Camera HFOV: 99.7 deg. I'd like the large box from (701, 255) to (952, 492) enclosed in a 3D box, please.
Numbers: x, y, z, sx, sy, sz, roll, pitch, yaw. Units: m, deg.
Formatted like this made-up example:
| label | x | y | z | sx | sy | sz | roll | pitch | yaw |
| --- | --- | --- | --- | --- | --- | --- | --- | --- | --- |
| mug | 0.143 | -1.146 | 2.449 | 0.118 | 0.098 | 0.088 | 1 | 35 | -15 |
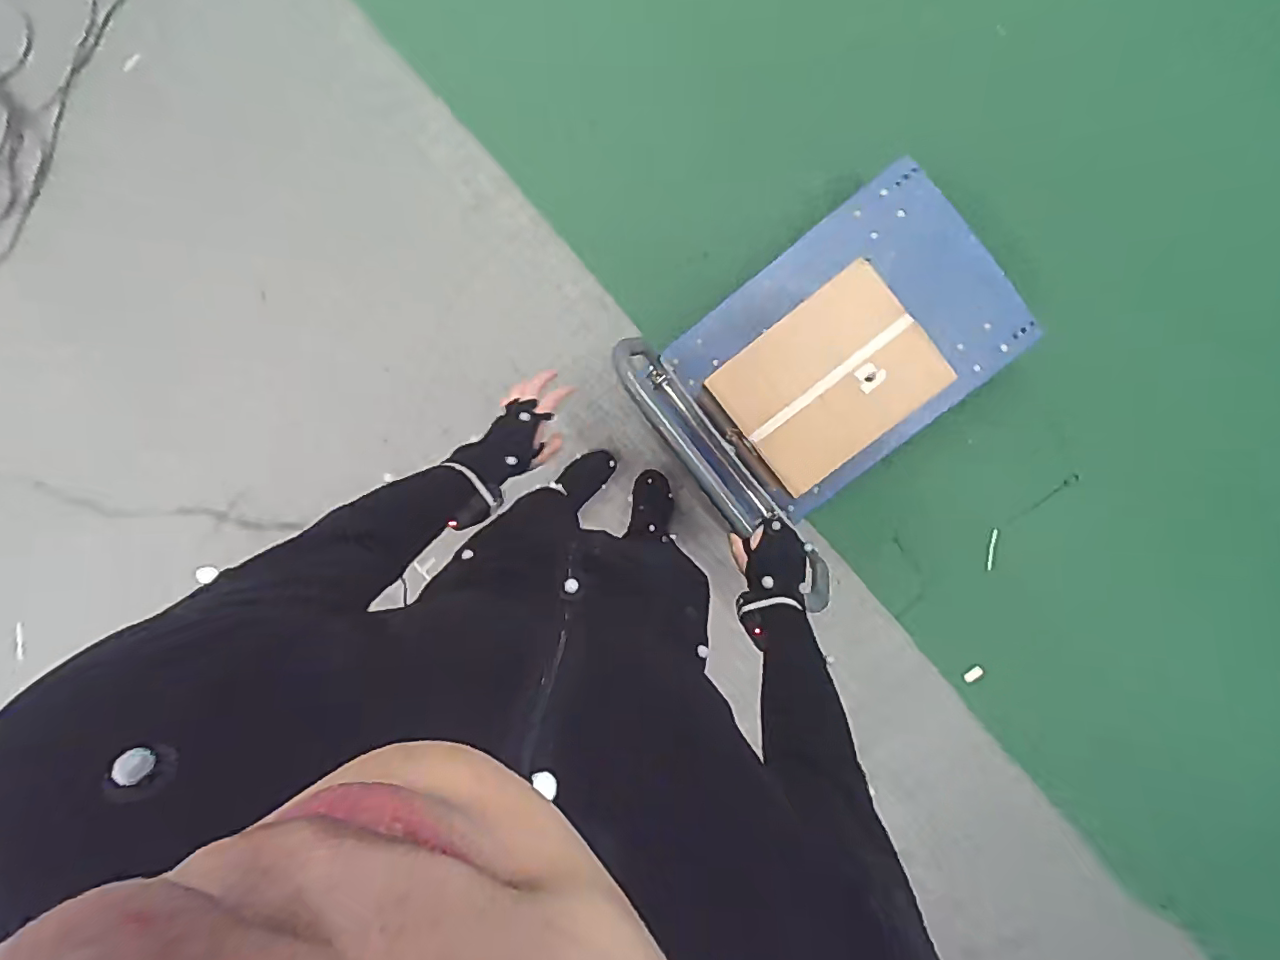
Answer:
| label | x | y | z | sx | sy | sz | roll | pitch | yaw |
| --- | --- | --- | --- | --- | --- | --- | --- | --- | --- |
| large box | 0.391 | -0.219 | 1.246 | 0.408 | 0.320 | 0.320 | -37 | 92 | 5 |
